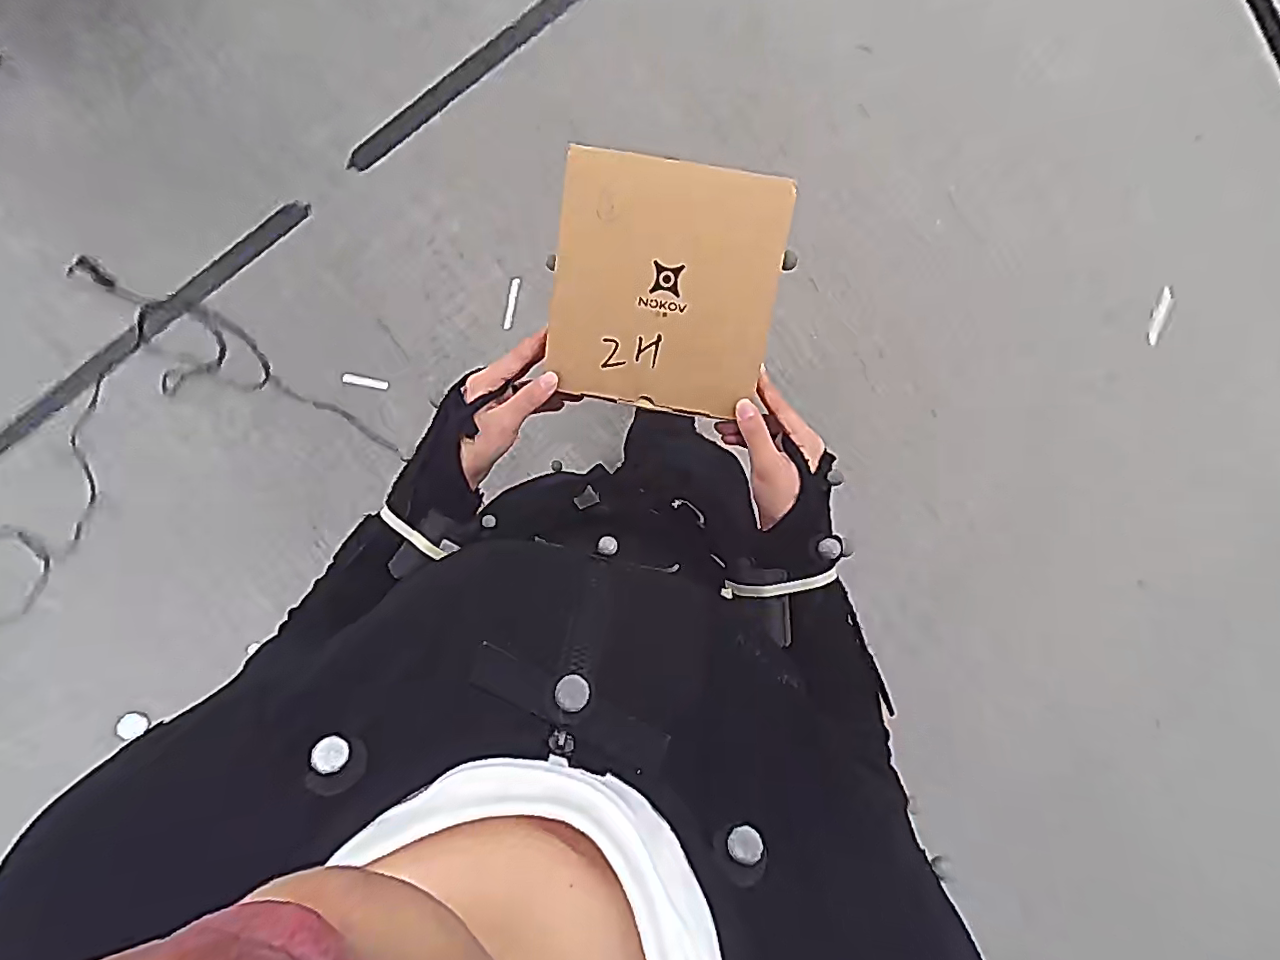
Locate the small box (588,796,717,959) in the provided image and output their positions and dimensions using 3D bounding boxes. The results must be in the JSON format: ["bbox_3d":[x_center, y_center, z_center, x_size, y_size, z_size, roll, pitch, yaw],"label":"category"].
[{"bbox_3d":[0.019,0.746,1.019,0.179,0.176,0.168,-33,98,3],"label":"small box"}]

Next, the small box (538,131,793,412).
[{"bbox_3d":[0.018,-0.165,0.471,0.168,0.176,0.179,9,104,1],"label":"small box"}]

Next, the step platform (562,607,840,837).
[{"bbox_3d":[0.142,0.626,1.347,0.684,0.204,0.286,-36,98,2],"label":"step platform"}]
